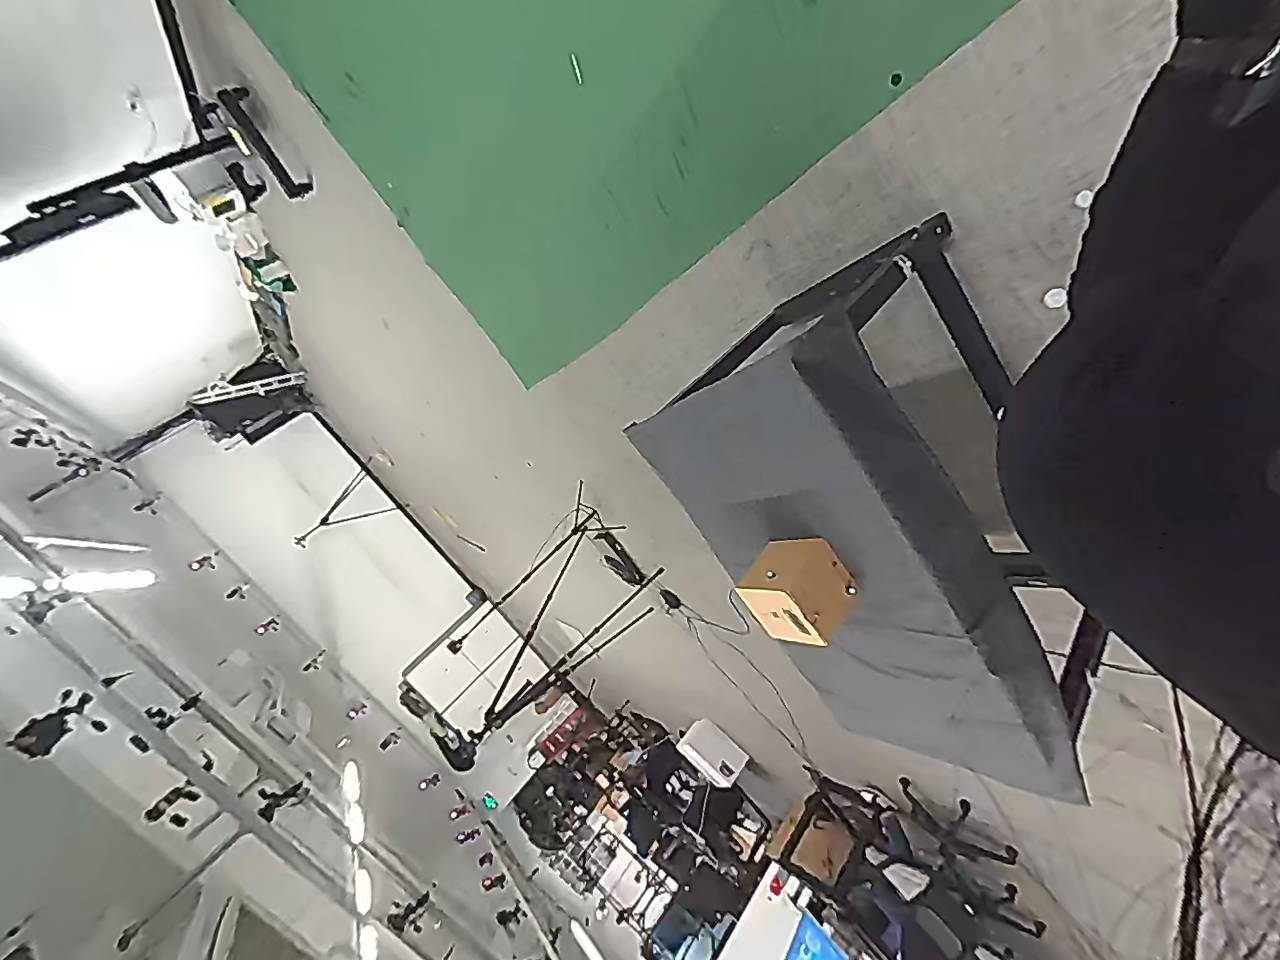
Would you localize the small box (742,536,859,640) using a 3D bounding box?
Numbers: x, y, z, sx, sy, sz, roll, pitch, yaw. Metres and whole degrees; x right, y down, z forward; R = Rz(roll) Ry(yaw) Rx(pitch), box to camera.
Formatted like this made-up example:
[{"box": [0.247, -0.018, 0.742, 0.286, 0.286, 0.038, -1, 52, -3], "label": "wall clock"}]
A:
[{"box": [0.377, 0.243, 1.250, 0.168, 0.176, 0.179, 52, 154, -12], "label": "small box"}]
